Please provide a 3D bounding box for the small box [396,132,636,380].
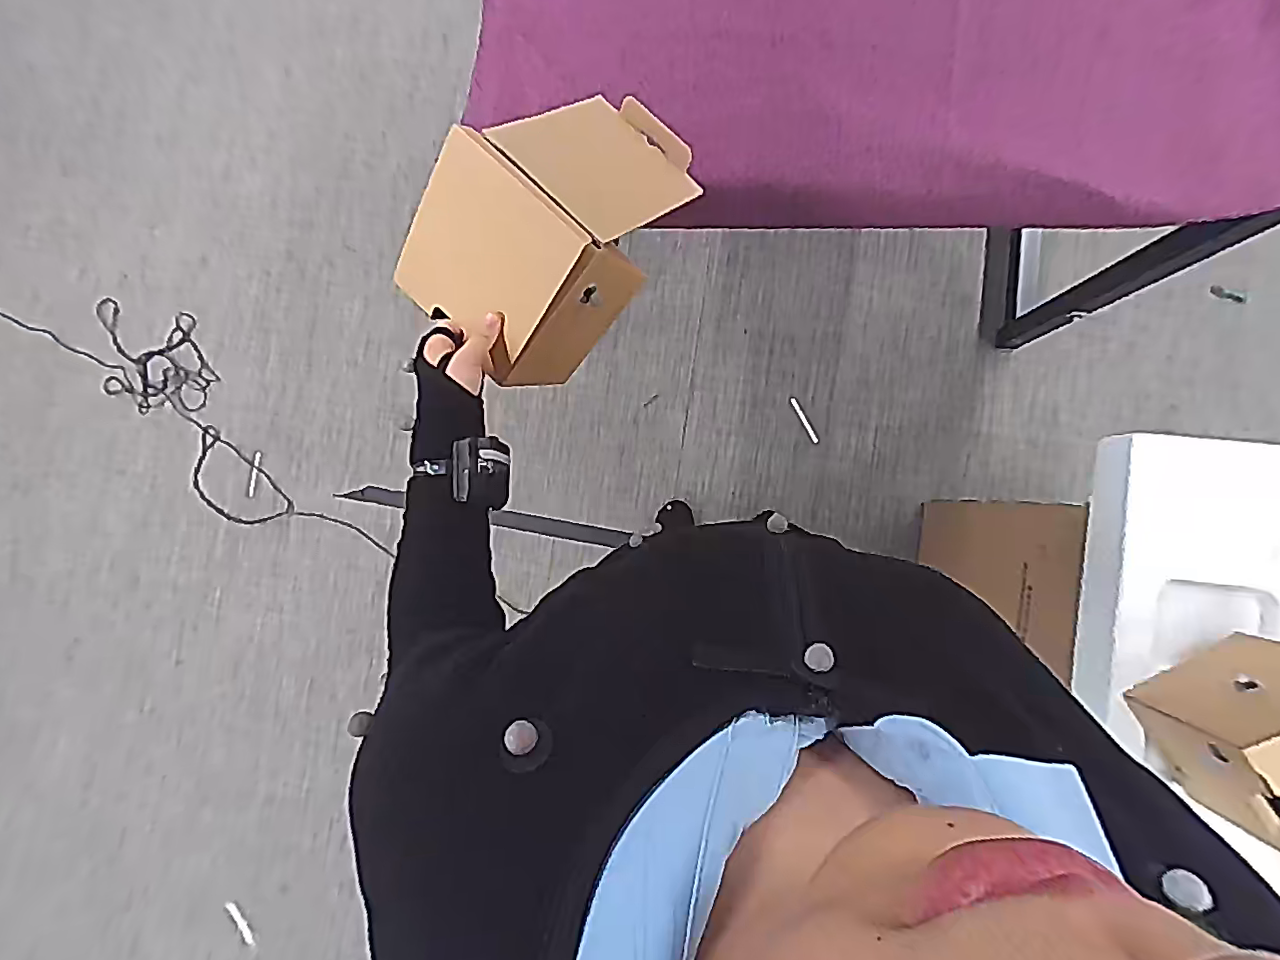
[{"bbox_3d":[-0.123,-0.232,0.610,0.168,0.176,0.179,45,108,5],"label":"small box"}]
